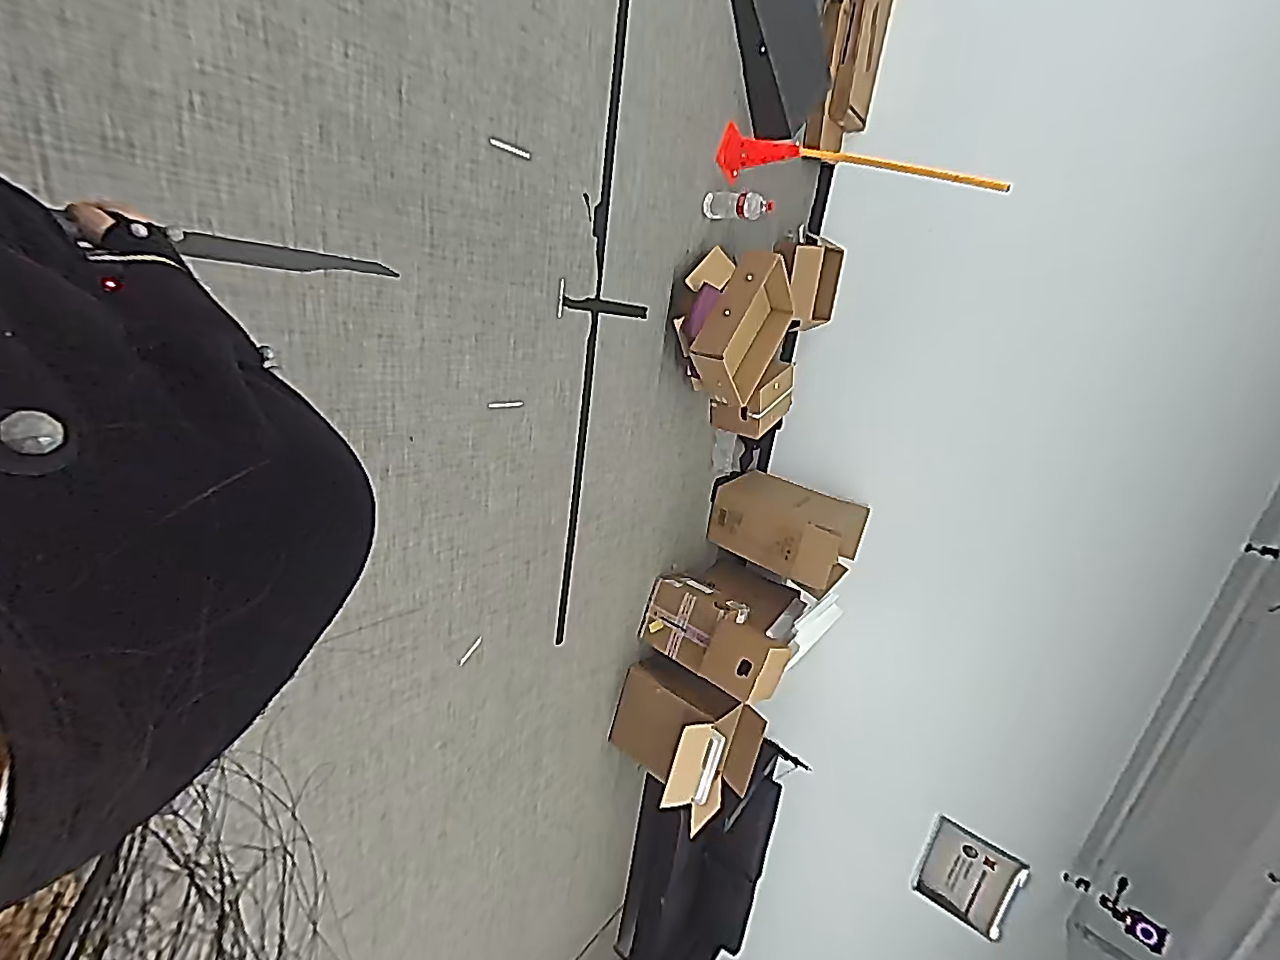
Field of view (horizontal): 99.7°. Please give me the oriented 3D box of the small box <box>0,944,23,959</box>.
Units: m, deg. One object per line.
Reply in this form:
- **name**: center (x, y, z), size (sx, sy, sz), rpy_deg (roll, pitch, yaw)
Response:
- **small box**: center (-1.448, 1.171, 1.171), size (0.168, 0.176, 0.179), rpy_deg (-24, 126, -47)
